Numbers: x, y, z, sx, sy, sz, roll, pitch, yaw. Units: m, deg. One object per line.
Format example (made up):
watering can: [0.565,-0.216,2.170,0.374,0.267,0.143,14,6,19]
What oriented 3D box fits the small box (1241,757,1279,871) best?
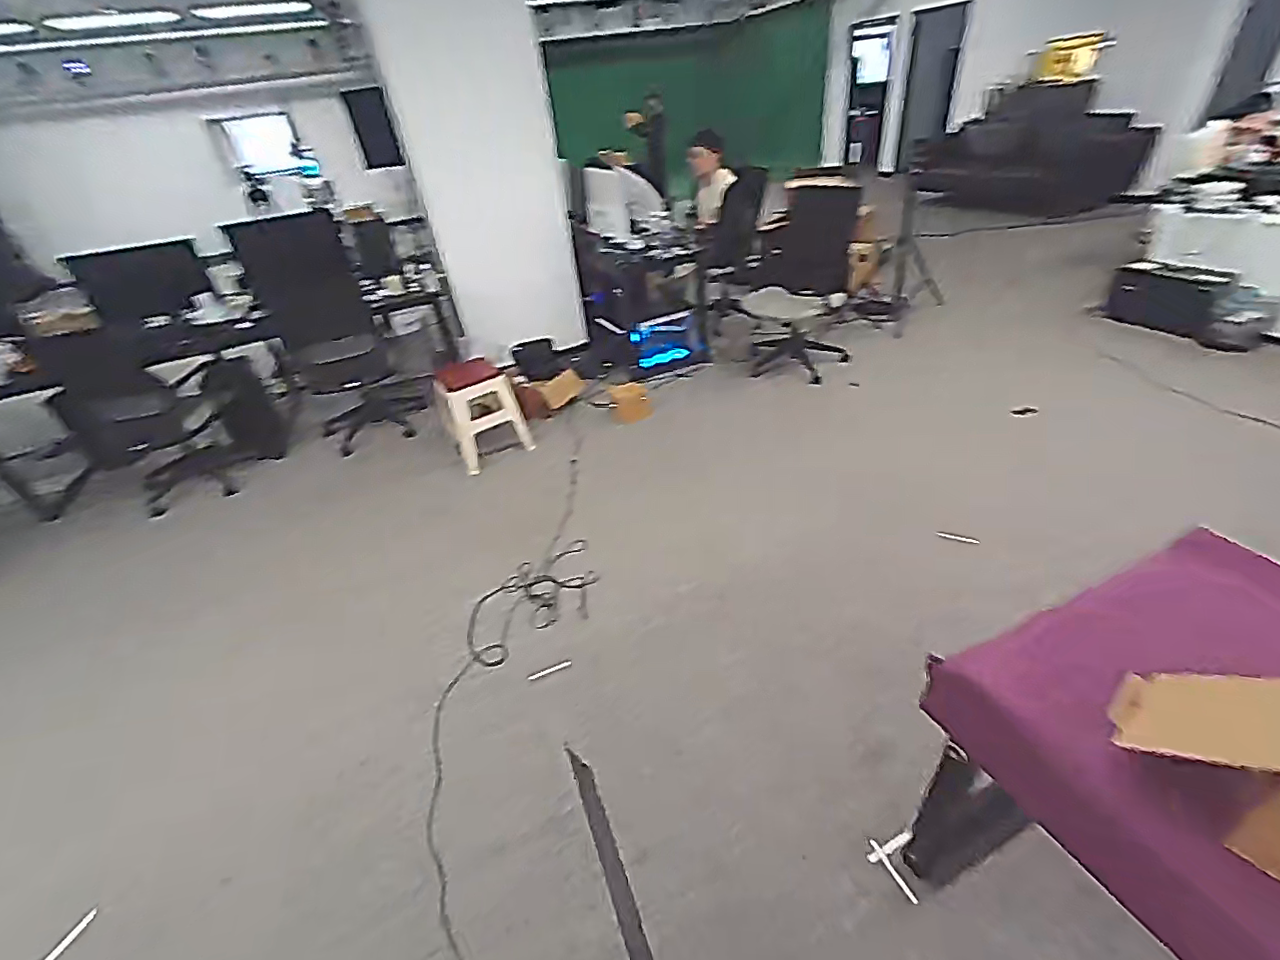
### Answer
small box: [0.796,0.361,0.559,0.168,0.176,0.179,-28,40,-26]
